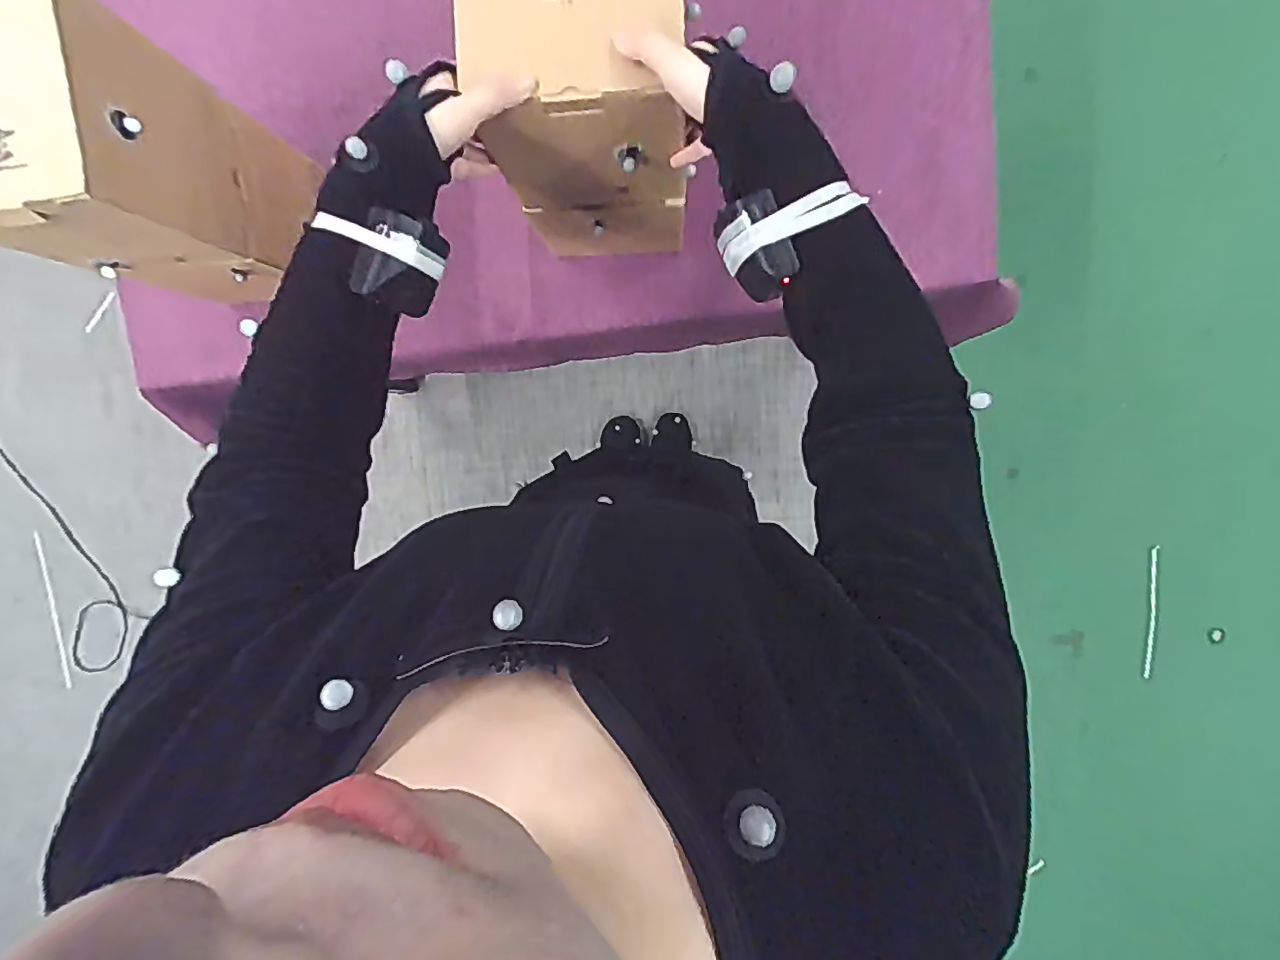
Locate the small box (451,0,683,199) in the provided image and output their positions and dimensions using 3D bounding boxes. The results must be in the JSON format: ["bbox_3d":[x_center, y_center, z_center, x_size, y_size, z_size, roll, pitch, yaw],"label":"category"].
[{"bbox_3d":[-0.048,-0.361,0.464,0.168,0.176,0.179,0,93,5],"label":"small box"}]

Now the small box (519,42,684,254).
[{"bbox_3d":[-0.036,-0.376,0.643,0.179,0.176,0.168,0,97,4],"label":"small box"}]

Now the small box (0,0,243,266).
[{"bbox_3d":[-0.522,-0.315,0.515,0.168,0.176,0.179,-5,95,3],"label":"small box"}]

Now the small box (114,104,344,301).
[{"bbox_3d":[-0.511,-0.330,0.679,0.179,0.176,0.168,-4,96,3],"label":"small box"}]
